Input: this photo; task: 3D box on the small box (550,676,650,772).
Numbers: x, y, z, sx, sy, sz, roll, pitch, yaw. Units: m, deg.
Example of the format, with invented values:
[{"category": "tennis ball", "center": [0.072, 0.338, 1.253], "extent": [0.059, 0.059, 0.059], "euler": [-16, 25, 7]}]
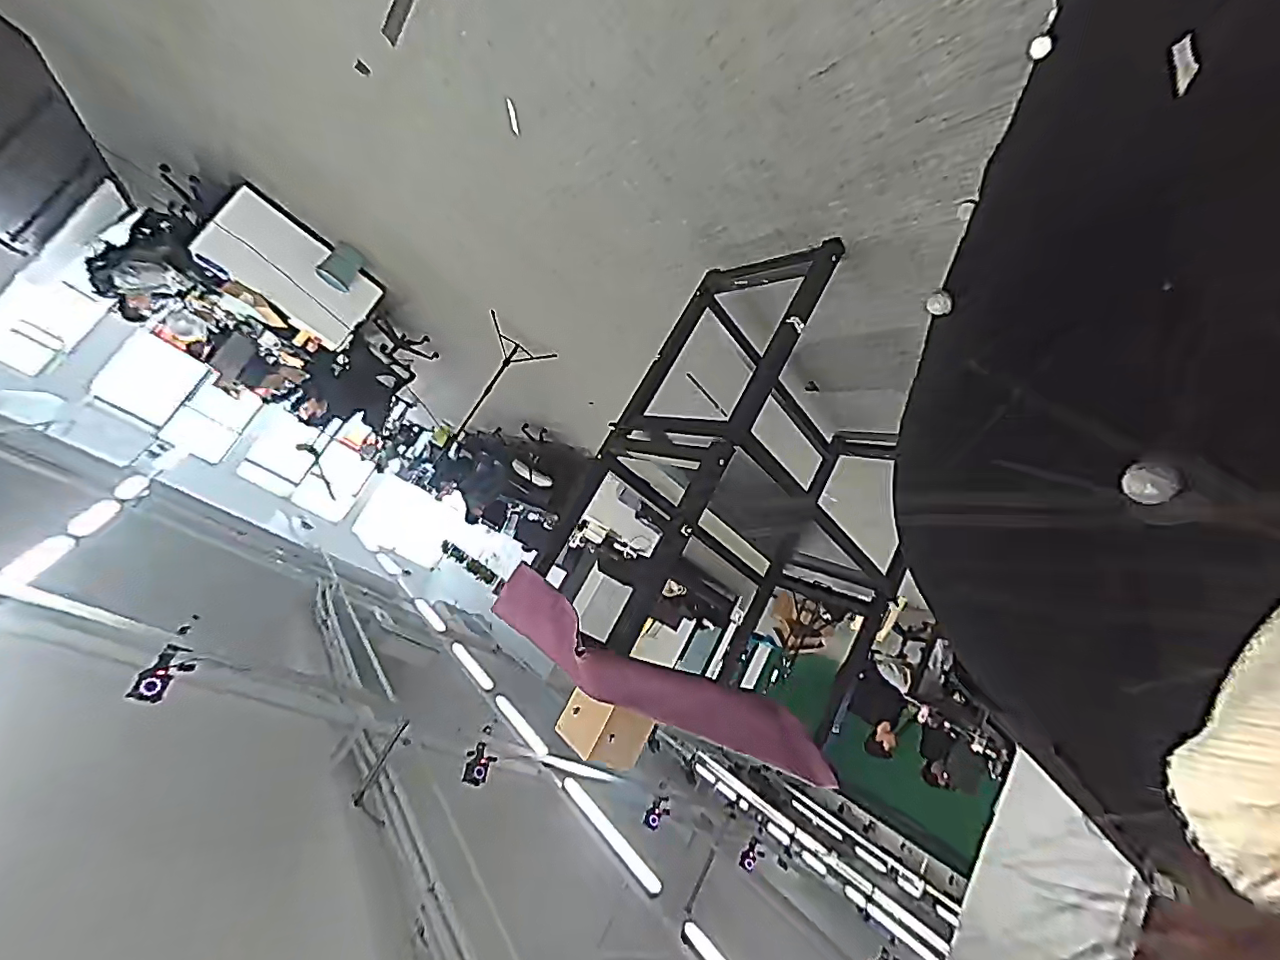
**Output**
[{"category": "small box", "center": [-0.107, 0.661, 1.478], "extent": [0.179, 0.176, 0.168], "euler": [38, 166, -37]}]
